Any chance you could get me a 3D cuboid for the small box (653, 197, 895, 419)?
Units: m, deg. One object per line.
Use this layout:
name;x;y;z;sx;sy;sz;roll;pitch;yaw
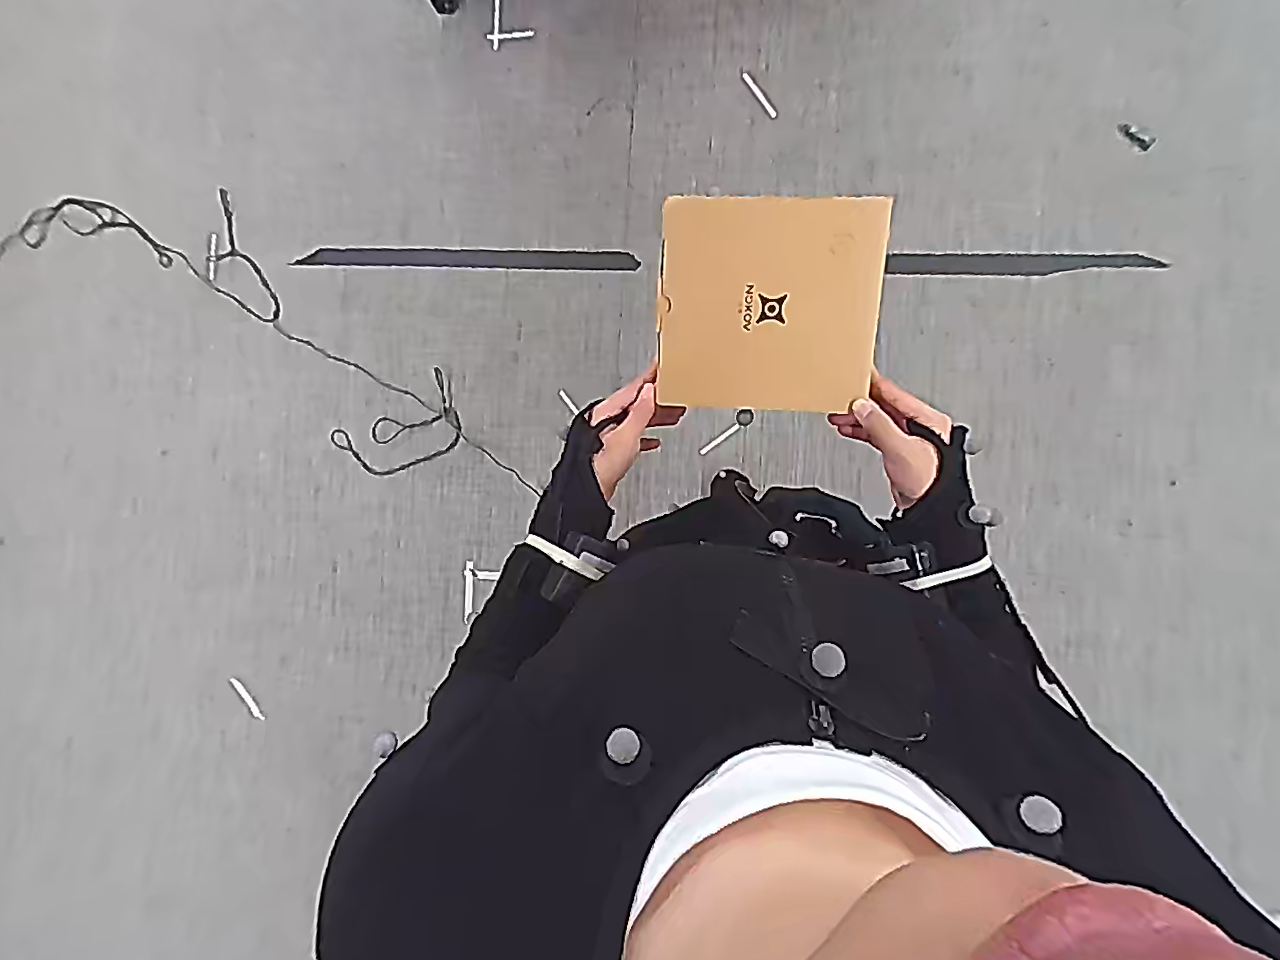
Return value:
small box;0.113;-0.153;0.509;0.179;0.176;0.168;5;102;9
